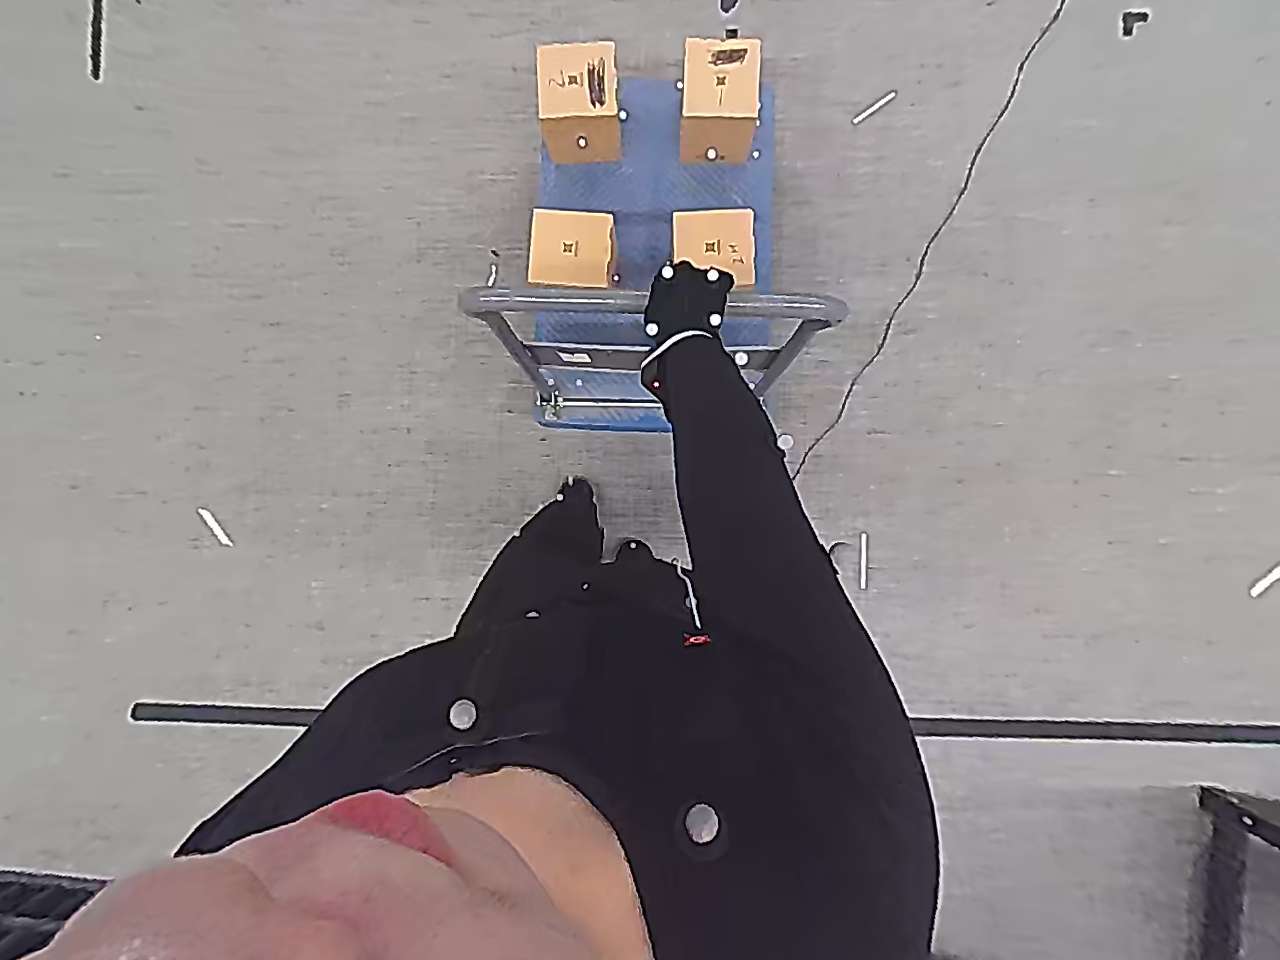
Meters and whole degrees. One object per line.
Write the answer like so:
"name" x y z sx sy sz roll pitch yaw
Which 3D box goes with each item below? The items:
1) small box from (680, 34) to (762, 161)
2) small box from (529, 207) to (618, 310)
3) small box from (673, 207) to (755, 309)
"small box" 0.180 -0.876 1.249 0.168 0.176 0.179 2 90 2
"small box" -0.147 -0.503 1.248 0.179 0.176 0.168 4 88 0
"small box" 0.163 -0.501 1.238 0.179 0.176 0.168 -1 89 2
